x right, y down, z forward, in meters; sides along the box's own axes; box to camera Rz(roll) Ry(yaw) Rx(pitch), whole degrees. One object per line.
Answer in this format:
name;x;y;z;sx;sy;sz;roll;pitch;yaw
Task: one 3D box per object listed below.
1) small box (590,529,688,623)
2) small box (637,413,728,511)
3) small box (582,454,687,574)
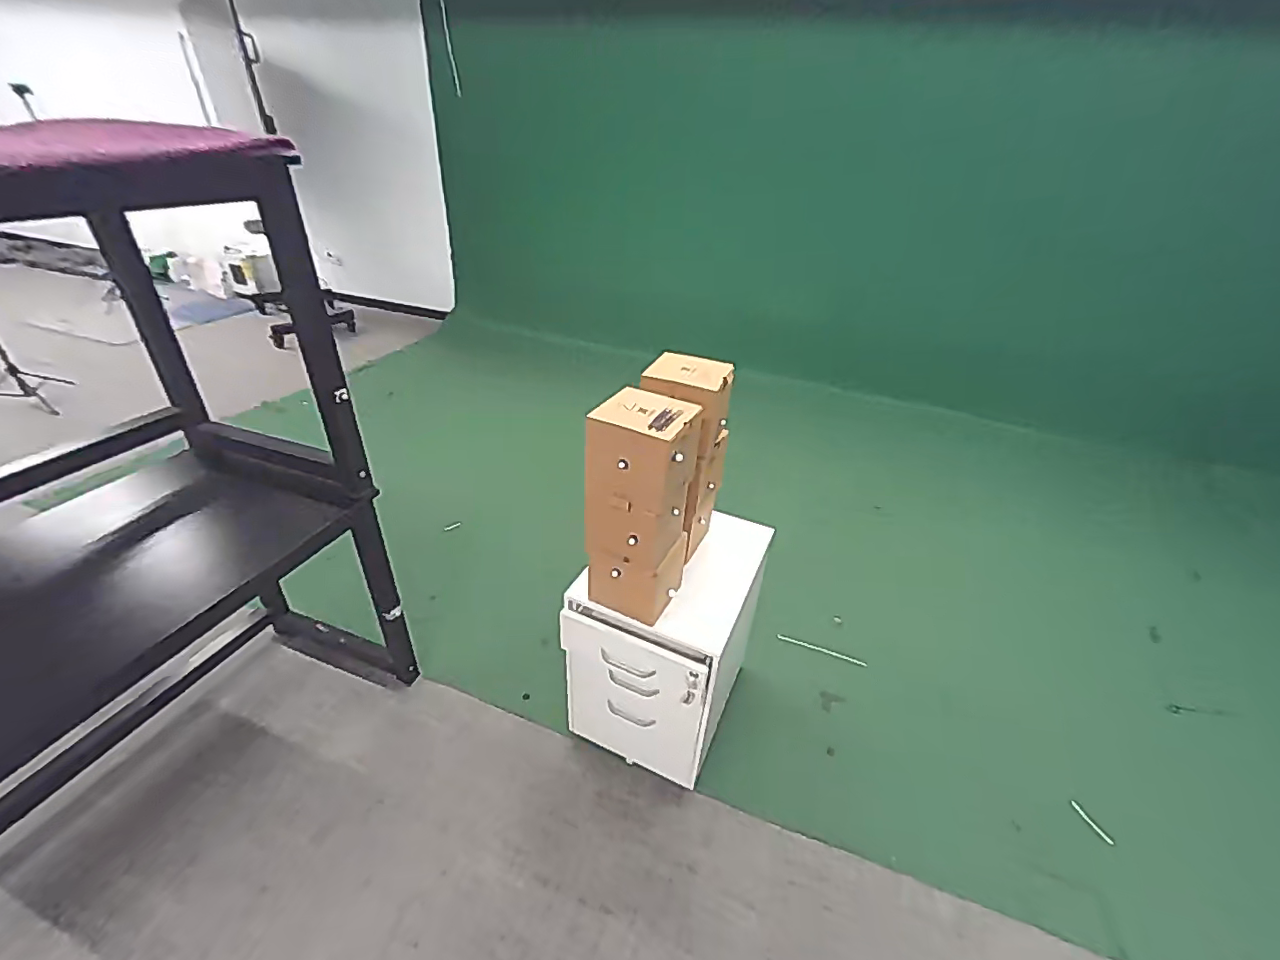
small box;-0.006;0.202;1.258;0.179;0.176;0.168;19;35;21
small box;0.098;-0.045;1.352;0.179;0.176;0.168;20;36;21
small box;-0.011;0.072;1.159;0.168;0.176;0.179;17;34;18
